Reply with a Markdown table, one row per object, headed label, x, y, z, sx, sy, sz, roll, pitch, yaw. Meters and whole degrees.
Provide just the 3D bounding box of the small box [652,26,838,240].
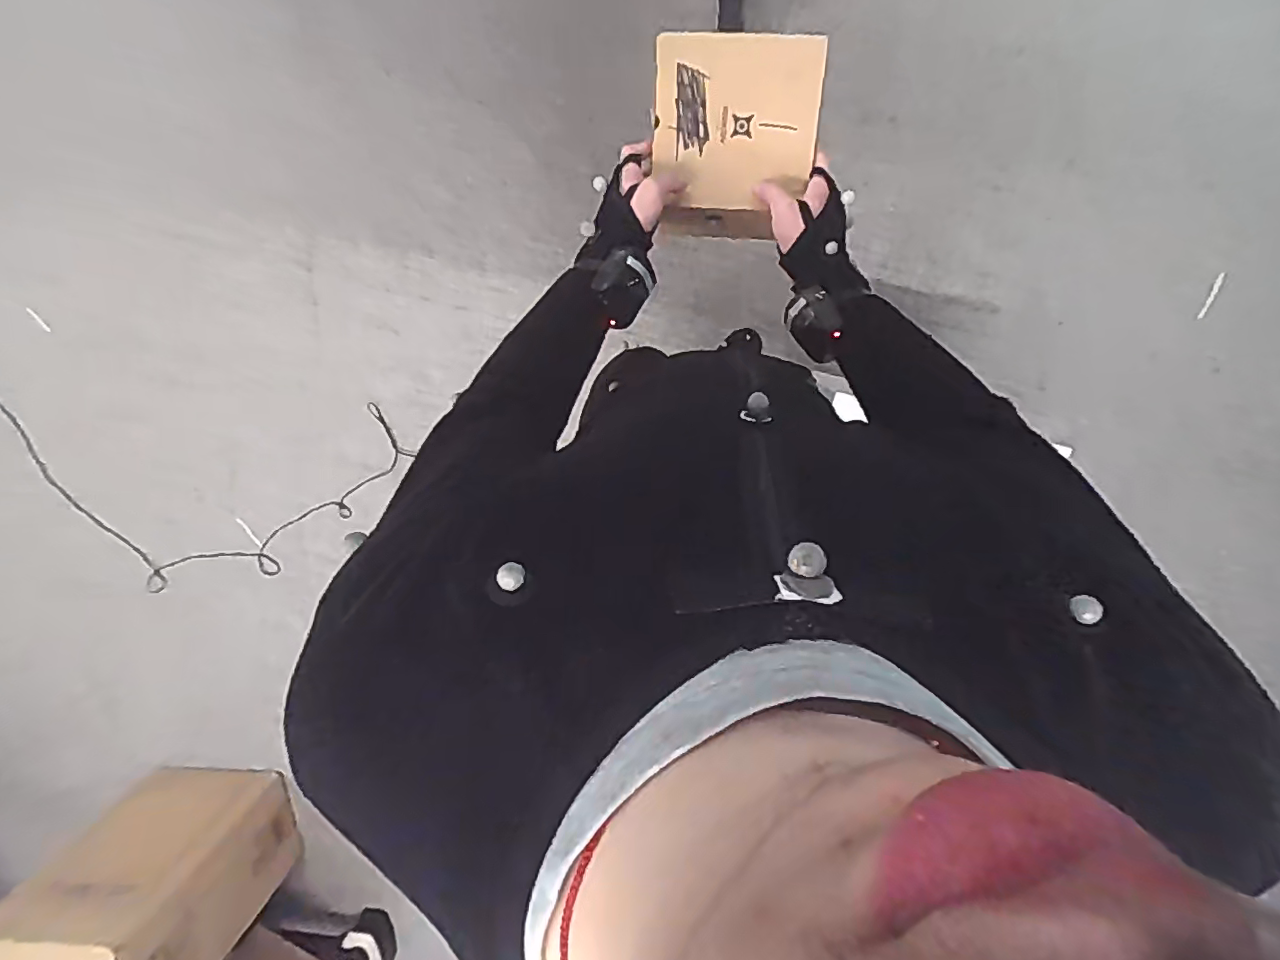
| label | x | y | z | sx | sy | sz | roll | pitch | yaw |
| --- | --- | --- | --- | --- | --- | --- | --- | --- | --- |
| small box | 0.108 | -0.385 | 0.630 | 0.179 | 0.176 | 0.168 | 3 | 104 | 1 |
